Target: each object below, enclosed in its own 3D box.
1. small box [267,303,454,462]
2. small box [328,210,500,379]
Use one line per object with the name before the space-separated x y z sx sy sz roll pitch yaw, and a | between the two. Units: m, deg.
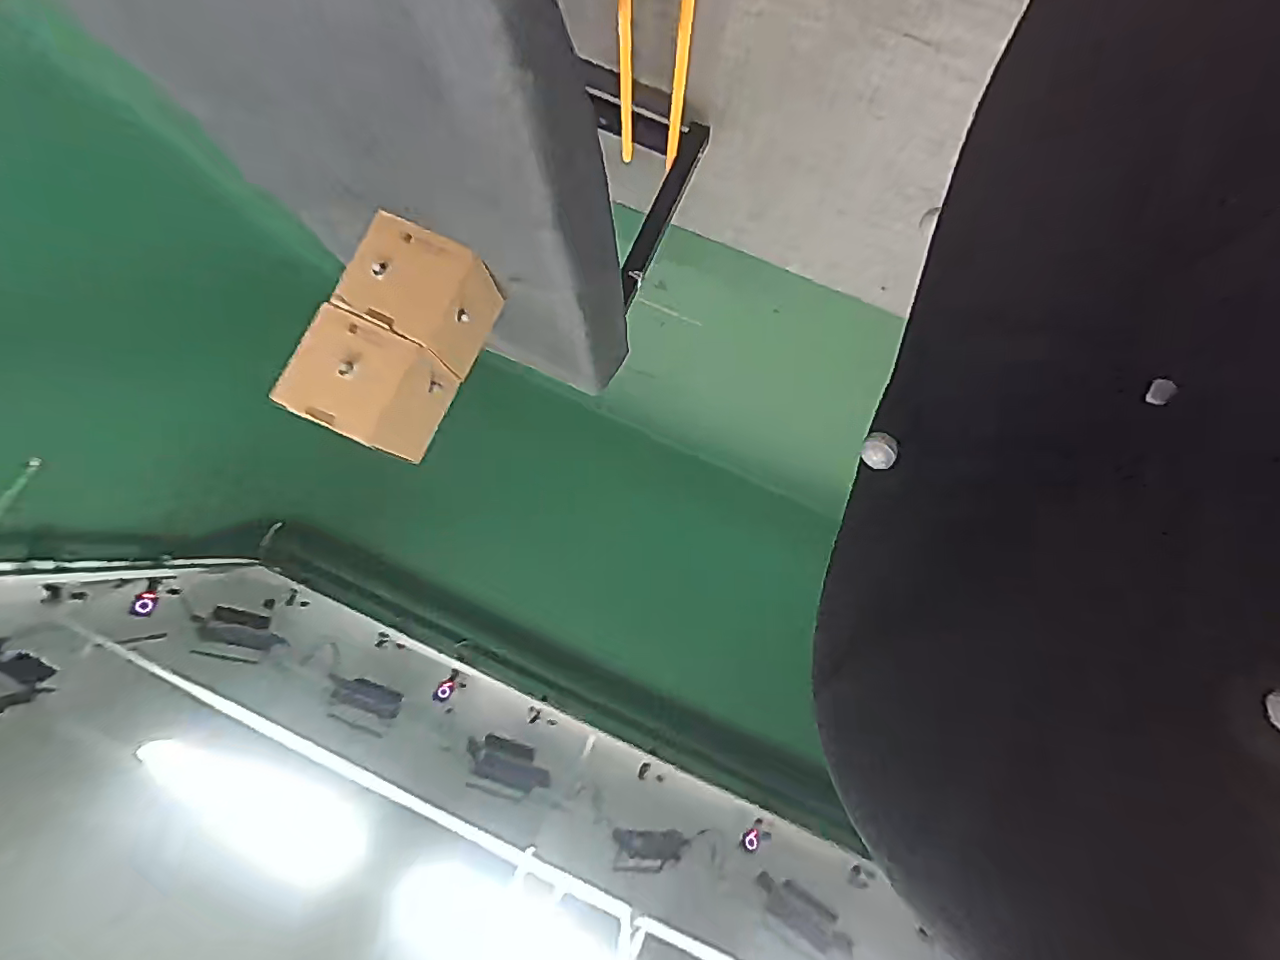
small box | -0.427 -0.150 0.857 0.168 0.176 0.179 25 173 4
small box | -0.351 -0.295 0.875 0.168 0.176 0.179 26 174 3
